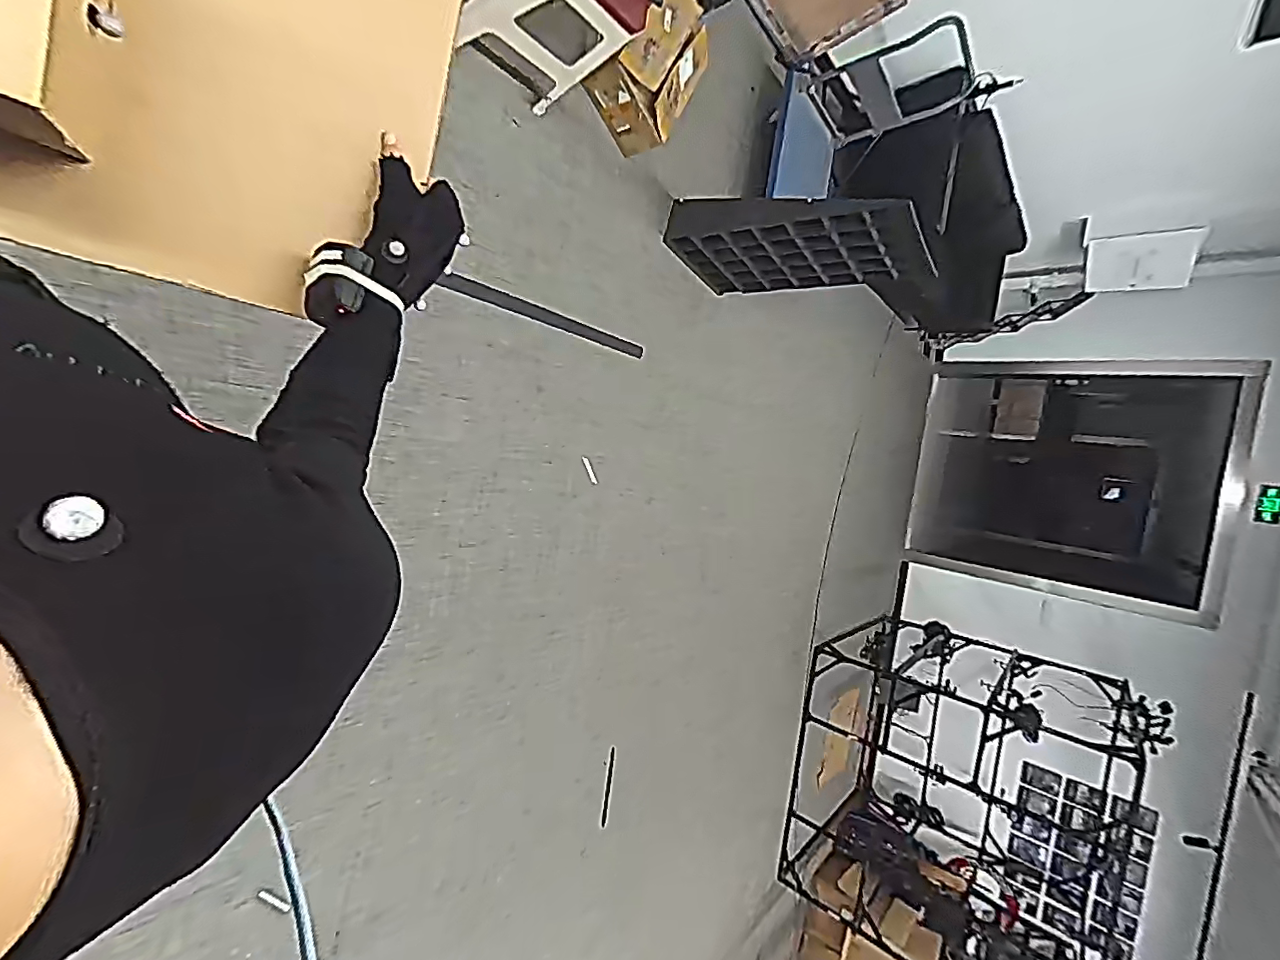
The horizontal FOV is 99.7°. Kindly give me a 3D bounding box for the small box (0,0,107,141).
[{"bbox_3d":[-0.410,-0.309,0.282,0.179,0.176,0.168,10,99,-40],"label":"small box"}]
